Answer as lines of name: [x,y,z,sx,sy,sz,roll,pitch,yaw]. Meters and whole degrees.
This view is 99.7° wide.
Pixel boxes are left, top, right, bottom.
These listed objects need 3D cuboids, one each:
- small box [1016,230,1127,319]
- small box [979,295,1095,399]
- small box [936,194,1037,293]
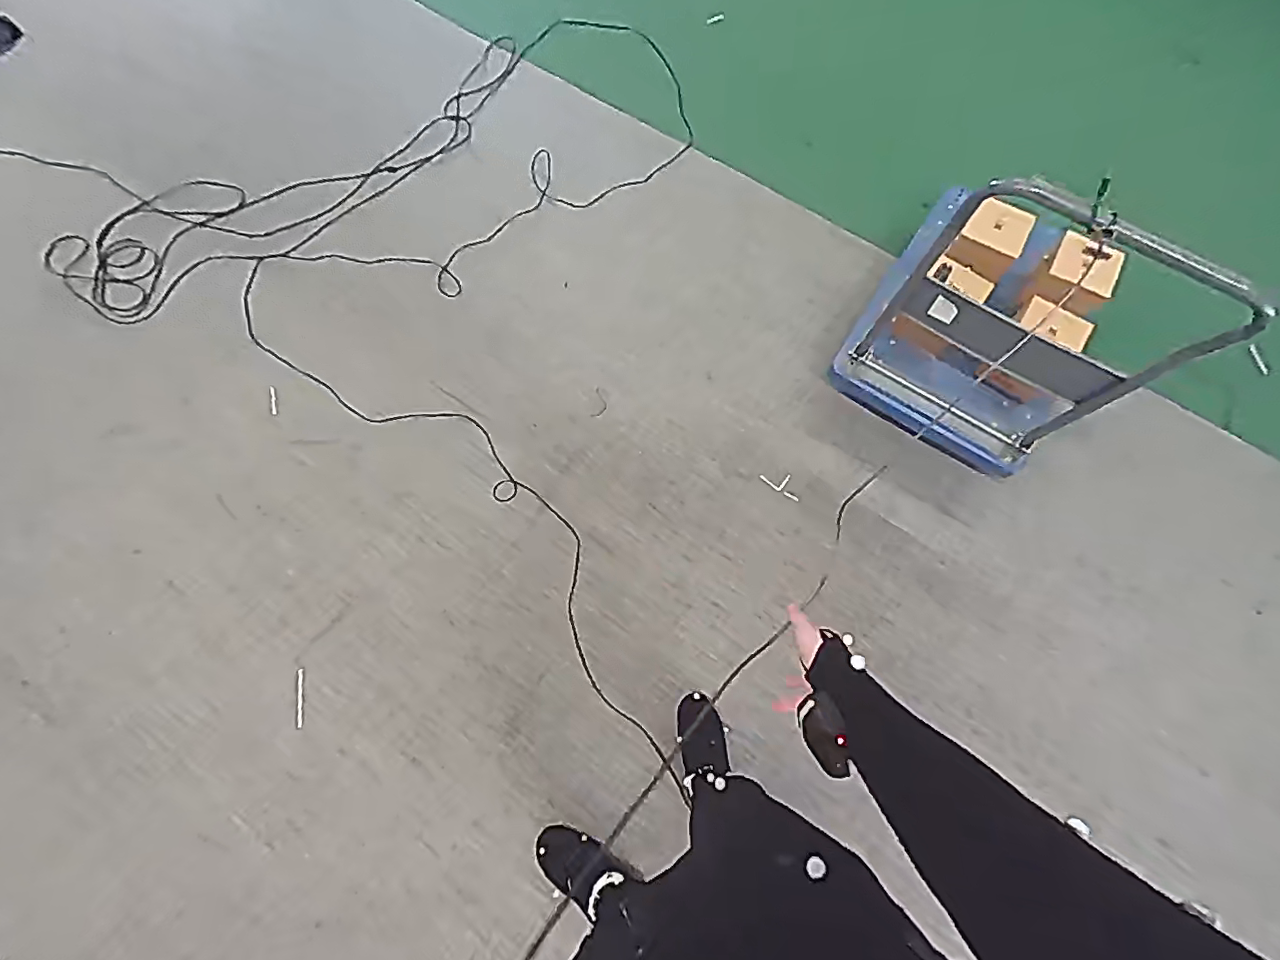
small box: [1.223,-0.565,1.546,0.168,0.176,0.179,30,74,10]
small box: [1.069,-0.356,1.471,0.168,0.176,0.179,34,74,11]
small box: [1.007,-0.686,1.587,0.168,0.176,0.179,30,73,9]
